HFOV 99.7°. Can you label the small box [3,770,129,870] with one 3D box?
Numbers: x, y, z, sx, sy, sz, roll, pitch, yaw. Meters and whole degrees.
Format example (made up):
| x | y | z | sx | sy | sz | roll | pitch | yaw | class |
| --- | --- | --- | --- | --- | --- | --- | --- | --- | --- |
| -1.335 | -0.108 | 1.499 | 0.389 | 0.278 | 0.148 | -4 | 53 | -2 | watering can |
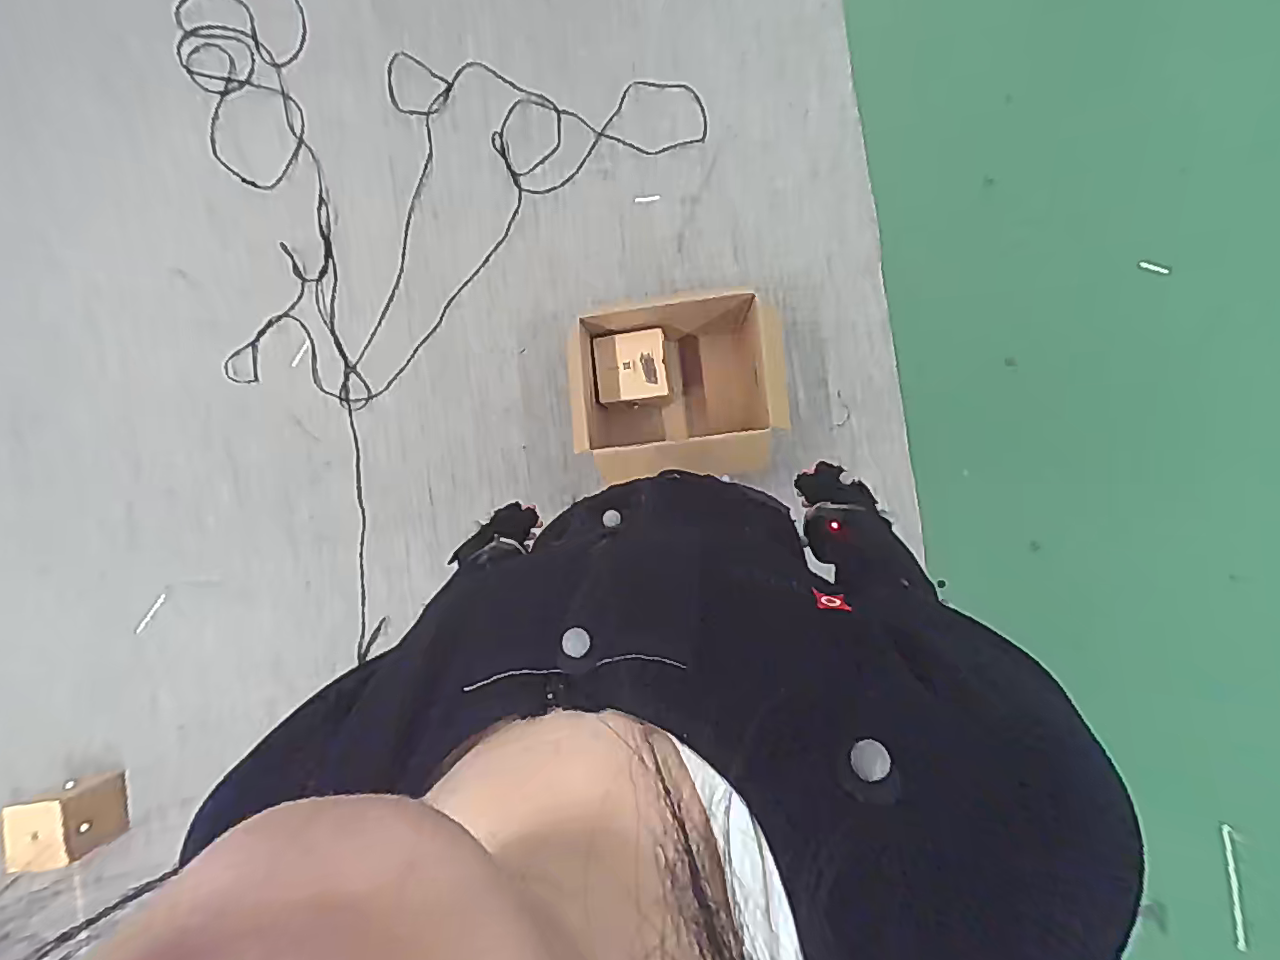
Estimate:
| x | y | z | sx | sy | sz | roll | pitch | yaw | class |
| --- | --- | --- | --- | --- | --- | --- | --- | --- | --- |
| -1.581 | 0.929 | 1.498 | 0.168 | 0.176 | 0.179 | -9 | 90 | 3 | small box |
